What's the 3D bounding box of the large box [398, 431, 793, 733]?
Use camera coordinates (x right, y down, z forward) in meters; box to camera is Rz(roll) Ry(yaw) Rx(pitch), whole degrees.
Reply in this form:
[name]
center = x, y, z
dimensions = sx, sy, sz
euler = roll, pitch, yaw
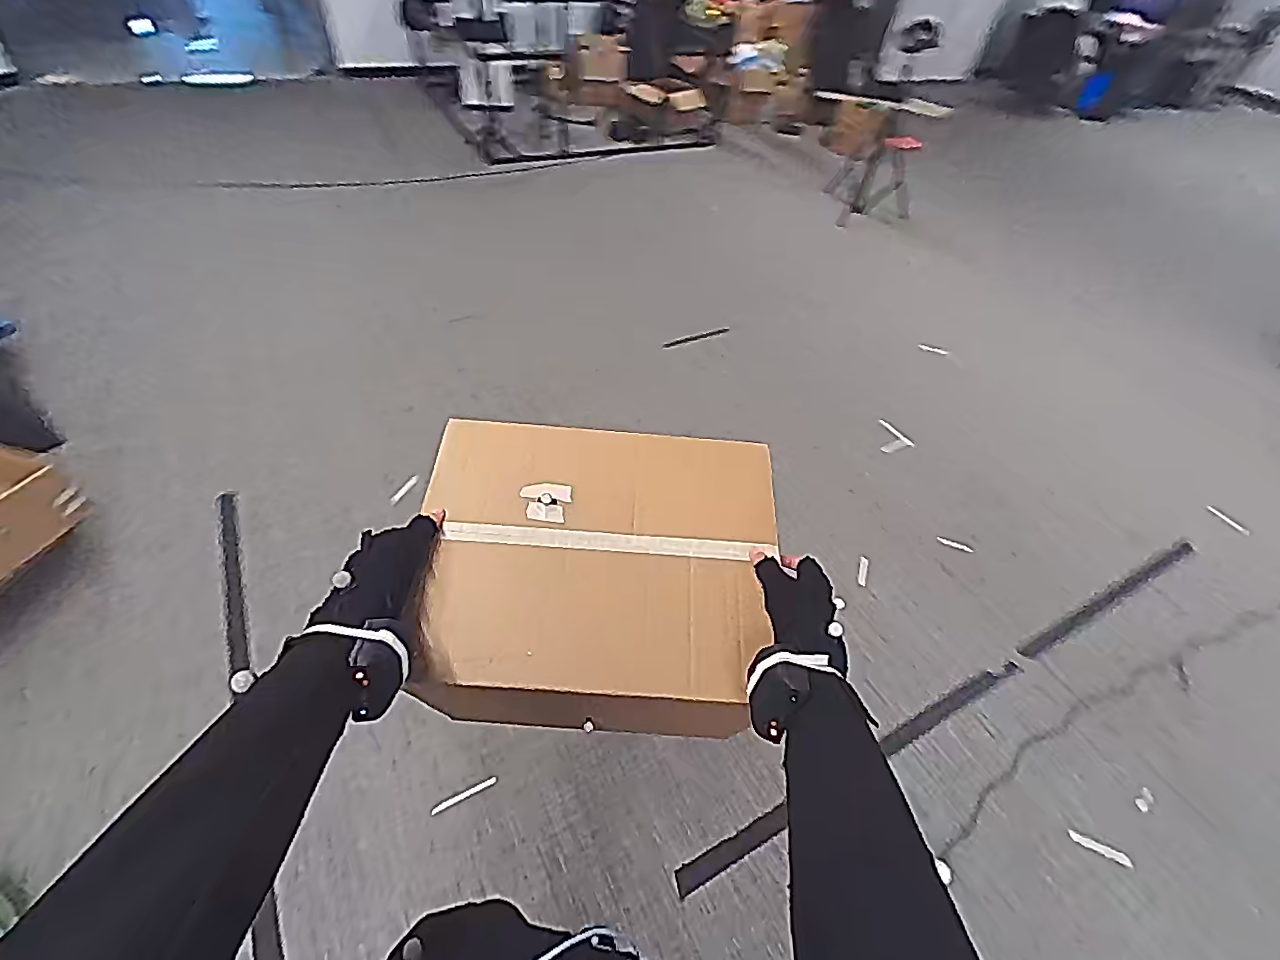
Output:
[large box]
center = -0.041, 0.157, 0.742
dimensions = 0.408, 0.320, 0.320
euler = 5, 58, -1
